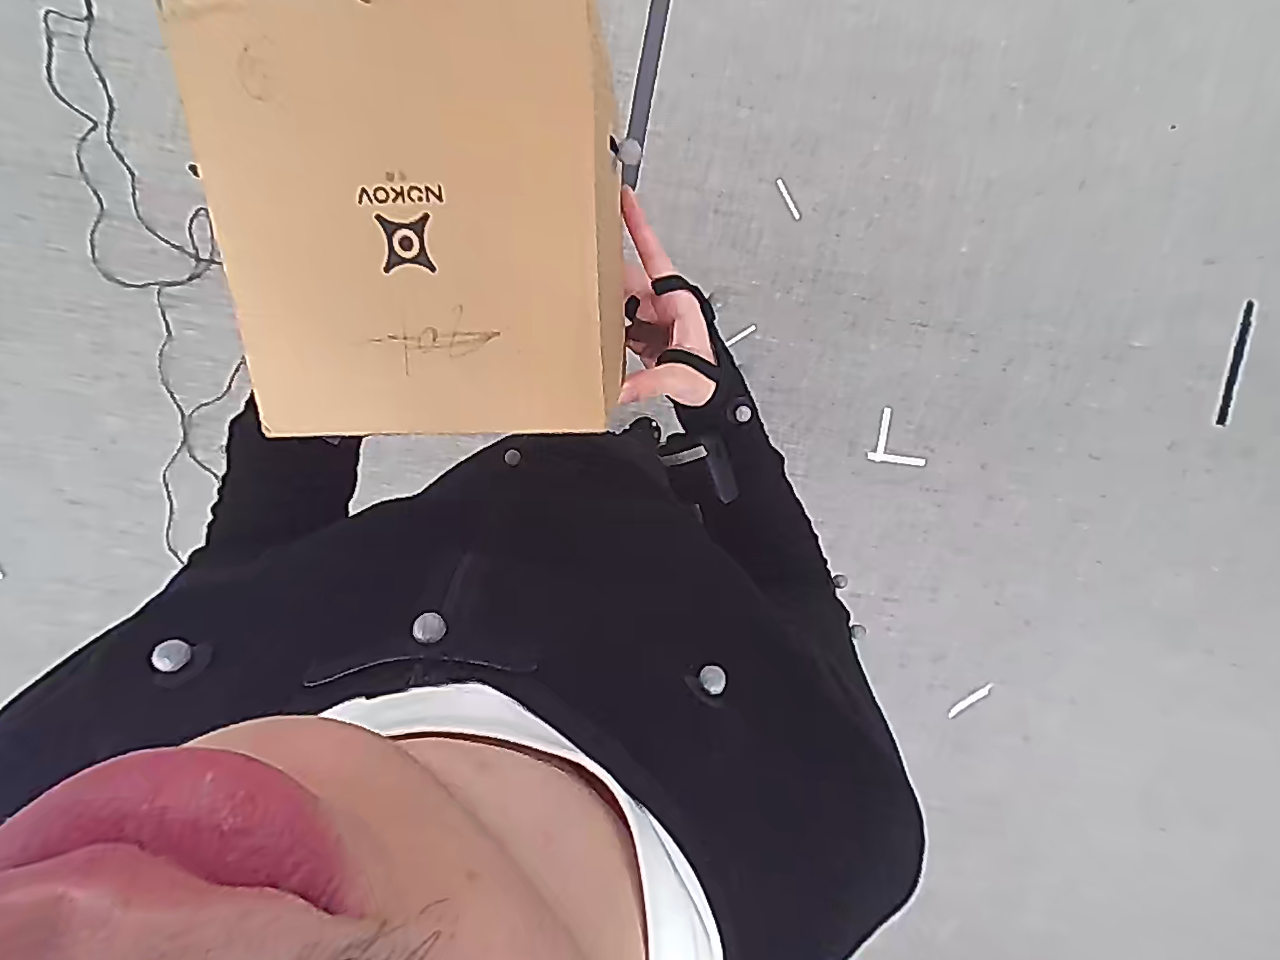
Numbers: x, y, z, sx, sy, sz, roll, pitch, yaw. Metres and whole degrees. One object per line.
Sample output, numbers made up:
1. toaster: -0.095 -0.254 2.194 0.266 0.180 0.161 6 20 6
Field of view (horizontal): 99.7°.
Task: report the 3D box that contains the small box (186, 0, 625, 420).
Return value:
1. small box: -0.097 -0.137 0.315 0.168 0.176 0.179 0 109 2
